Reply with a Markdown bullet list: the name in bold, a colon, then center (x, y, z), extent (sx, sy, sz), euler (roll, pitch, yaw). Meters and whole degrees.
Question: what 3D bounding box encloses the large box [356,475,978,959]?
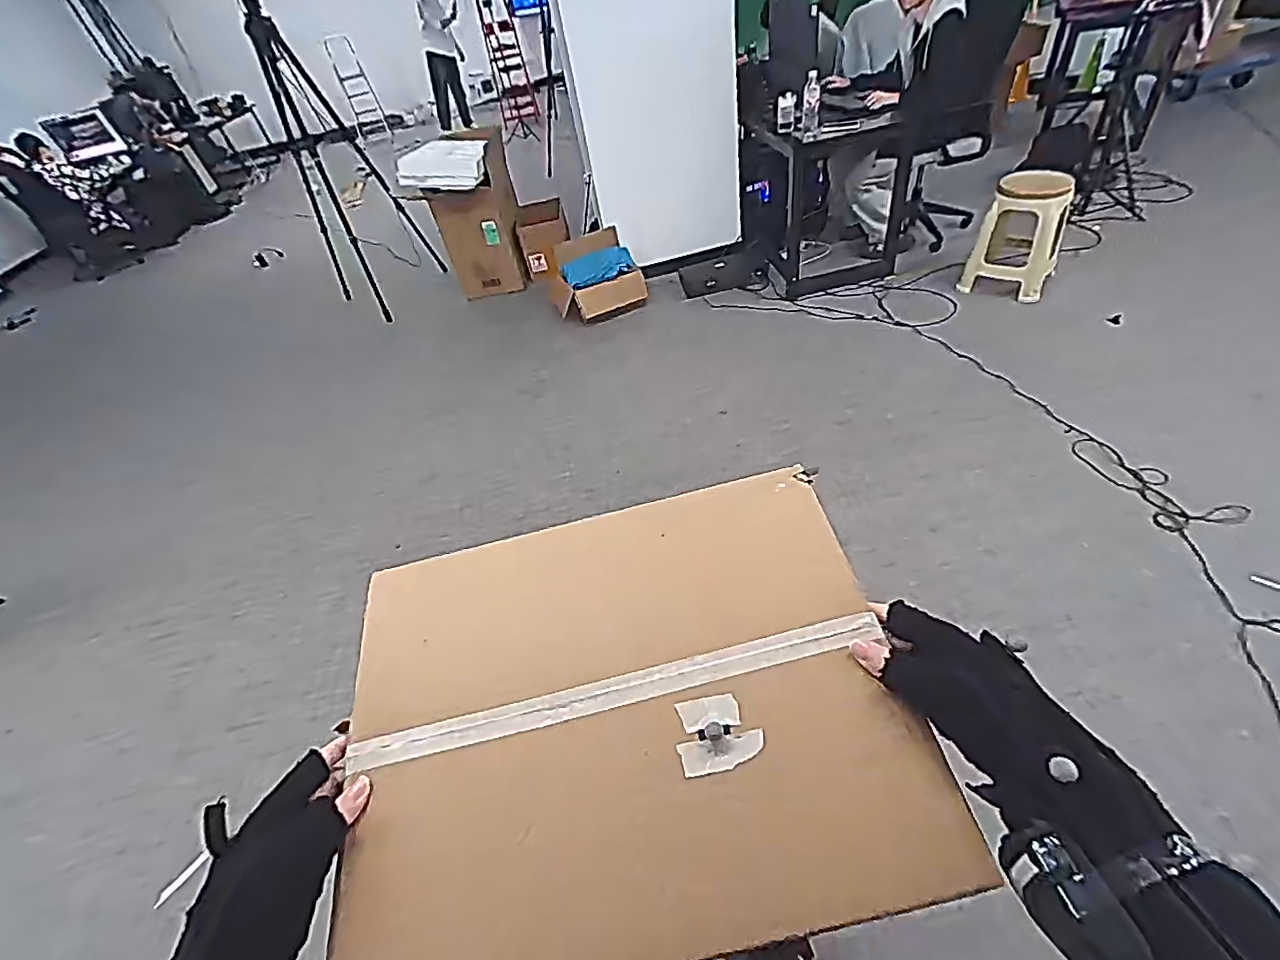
- **large box**: center (0.007, 0.249, 0.533), extent (0.408, 0.320, 0.320), euler (-14, 54, 0)
